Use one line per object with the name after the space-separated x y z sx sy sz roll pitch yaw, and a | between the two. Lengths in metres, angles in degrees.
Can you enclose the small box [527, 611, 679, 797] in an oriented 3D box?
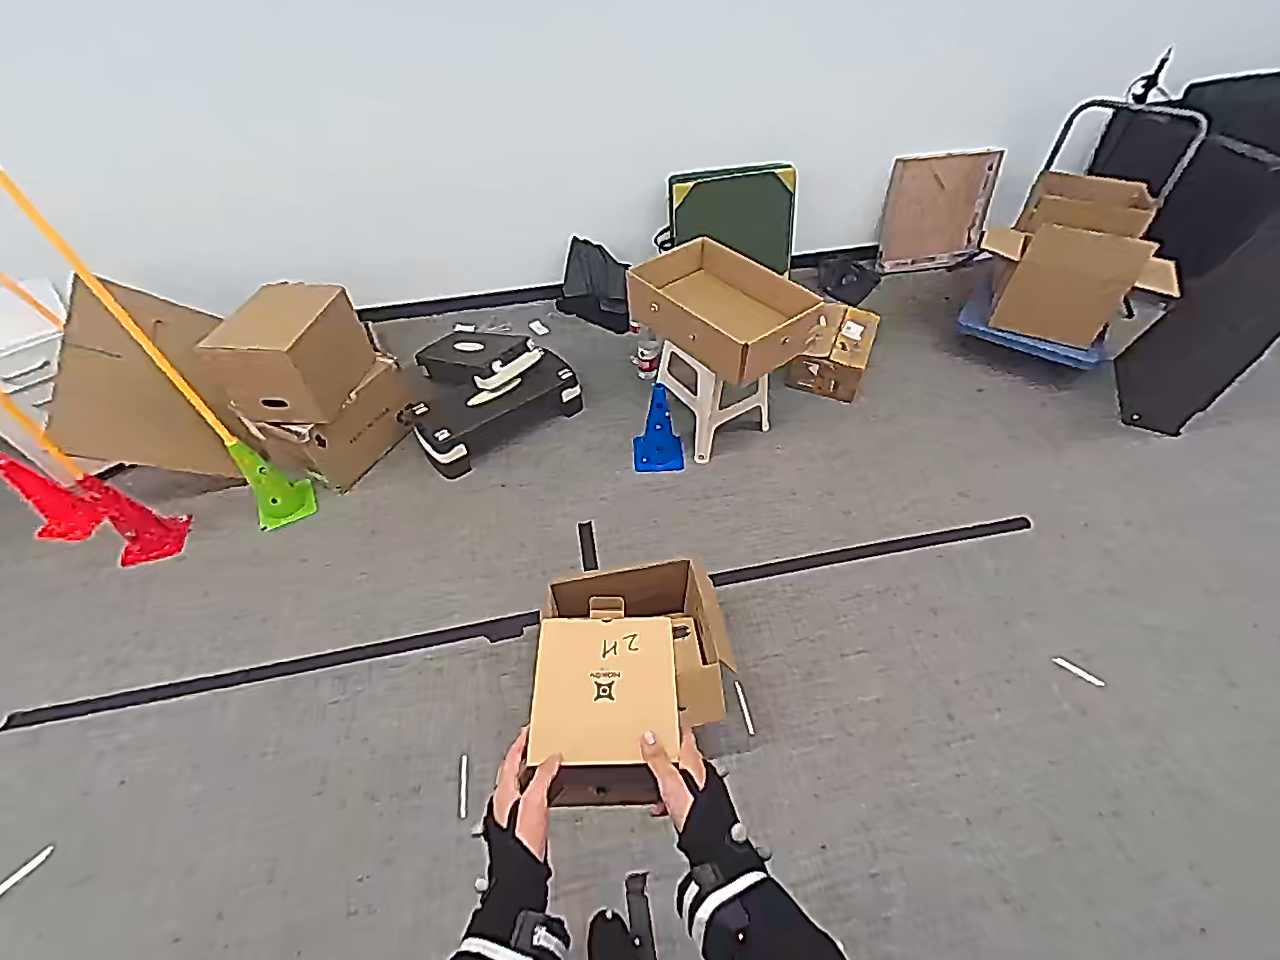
-0.040 0.285 0.683 0.168 0.176 0.179 2 46 -2 | small box
